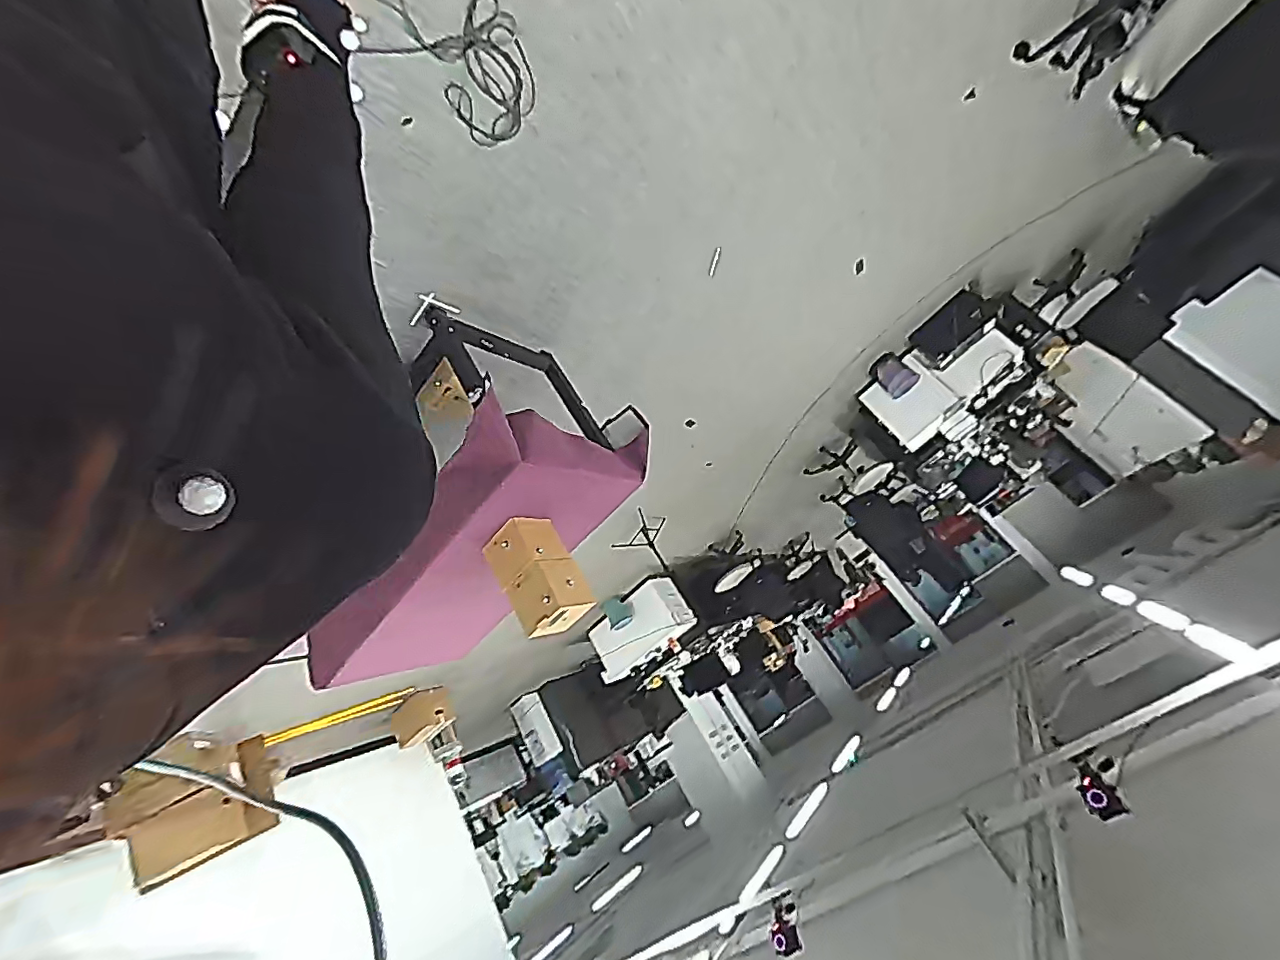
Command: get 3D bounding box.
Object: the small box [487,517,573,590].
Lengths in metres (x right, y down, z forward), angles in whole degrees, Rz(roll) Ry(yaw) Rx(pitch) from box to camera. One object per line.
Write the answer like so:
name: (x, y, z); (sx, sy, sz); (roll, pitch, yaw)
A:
small box: (-0.356, 0.232, 1.738); (0.168, 0.176, 0.179); (-45, 153, 22)
